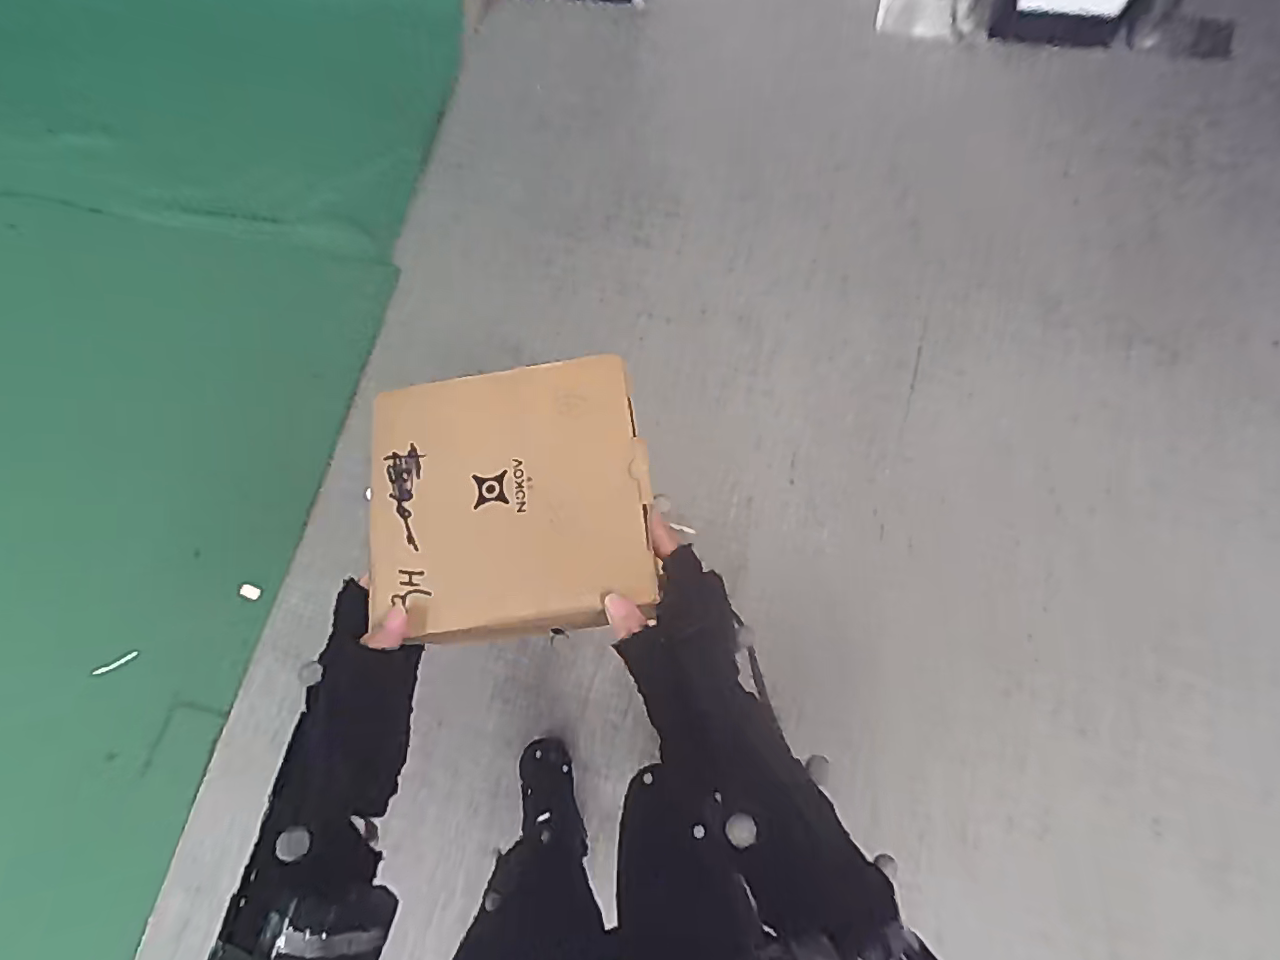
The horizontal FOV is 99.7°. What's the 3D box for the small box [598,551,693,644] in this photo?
[{"bbox_3d":[0.018,0.245,1.146,0.179,0.176,0.168,5,79,7],"label":"small box"}]
